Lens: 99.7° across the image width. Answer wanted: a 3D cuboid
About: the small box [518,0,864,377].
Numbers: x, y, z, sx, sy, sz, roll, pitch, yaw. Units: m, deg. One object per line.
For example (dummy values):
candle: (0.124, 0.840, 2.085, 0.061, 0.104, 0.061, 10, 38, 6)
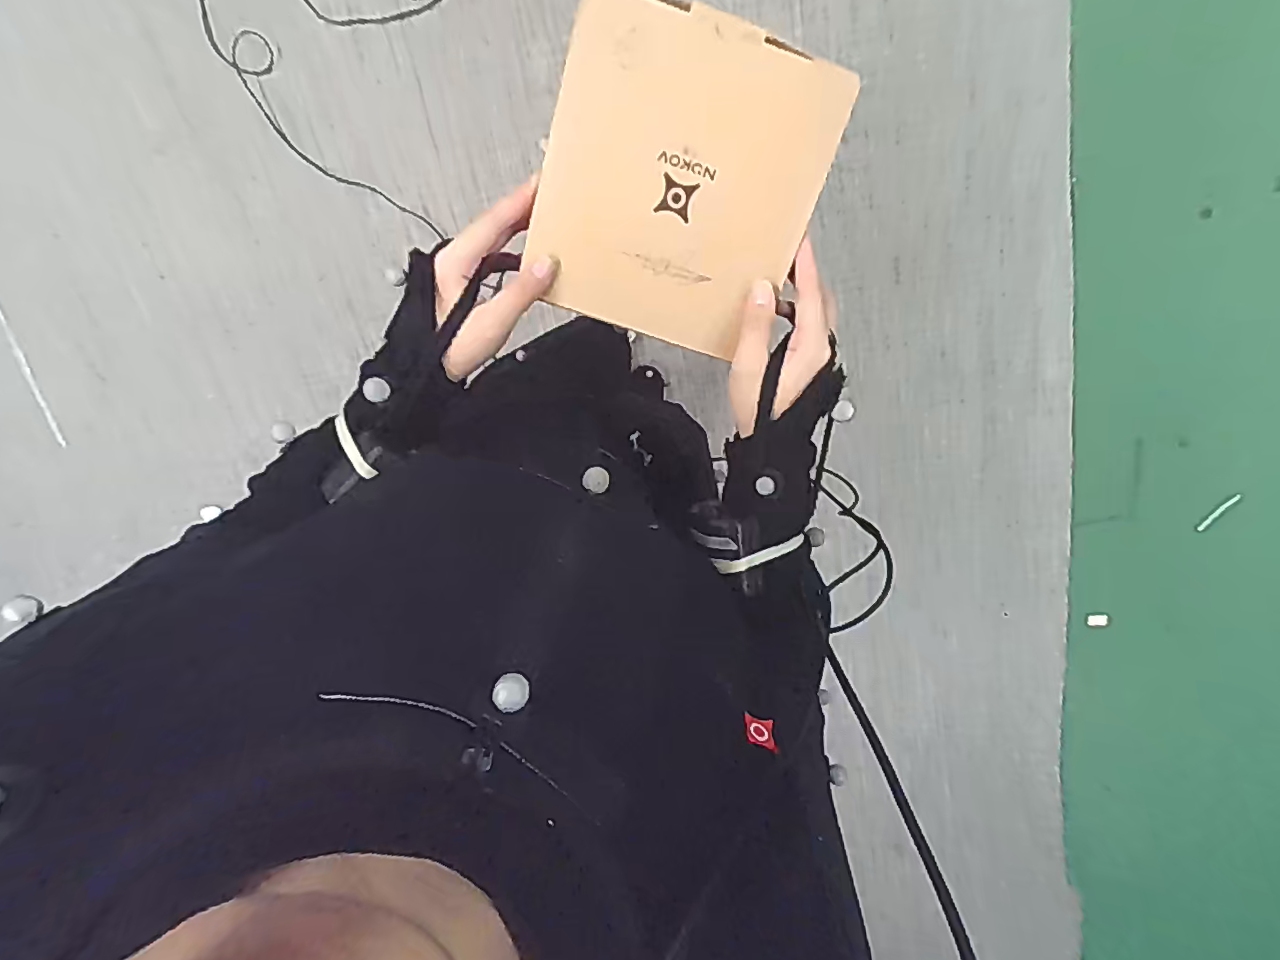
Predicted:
small box: (0.025, -0.197, 0.399, 0.168, 0.176, 0.179, 17, 110, -5)
